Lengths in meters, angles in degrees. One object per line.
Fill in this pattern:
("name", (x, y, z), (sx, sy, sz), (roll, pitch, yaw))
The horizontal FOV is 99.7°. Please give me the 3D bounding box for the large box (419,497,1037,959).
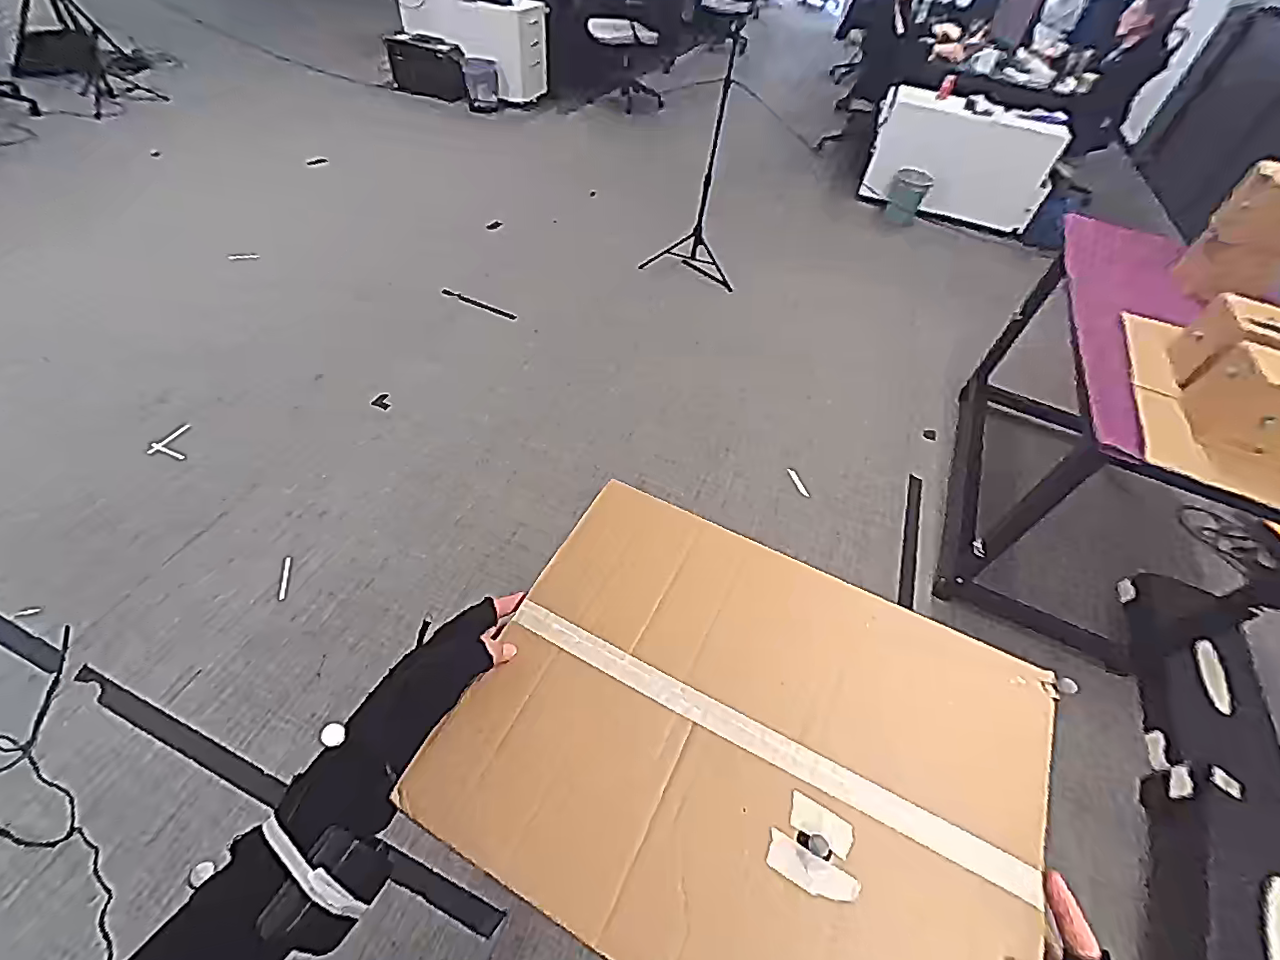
("large box", (0.078, 0.284, 0.535), (0.408, 0.320, 0.320), (24, 57, 15))
